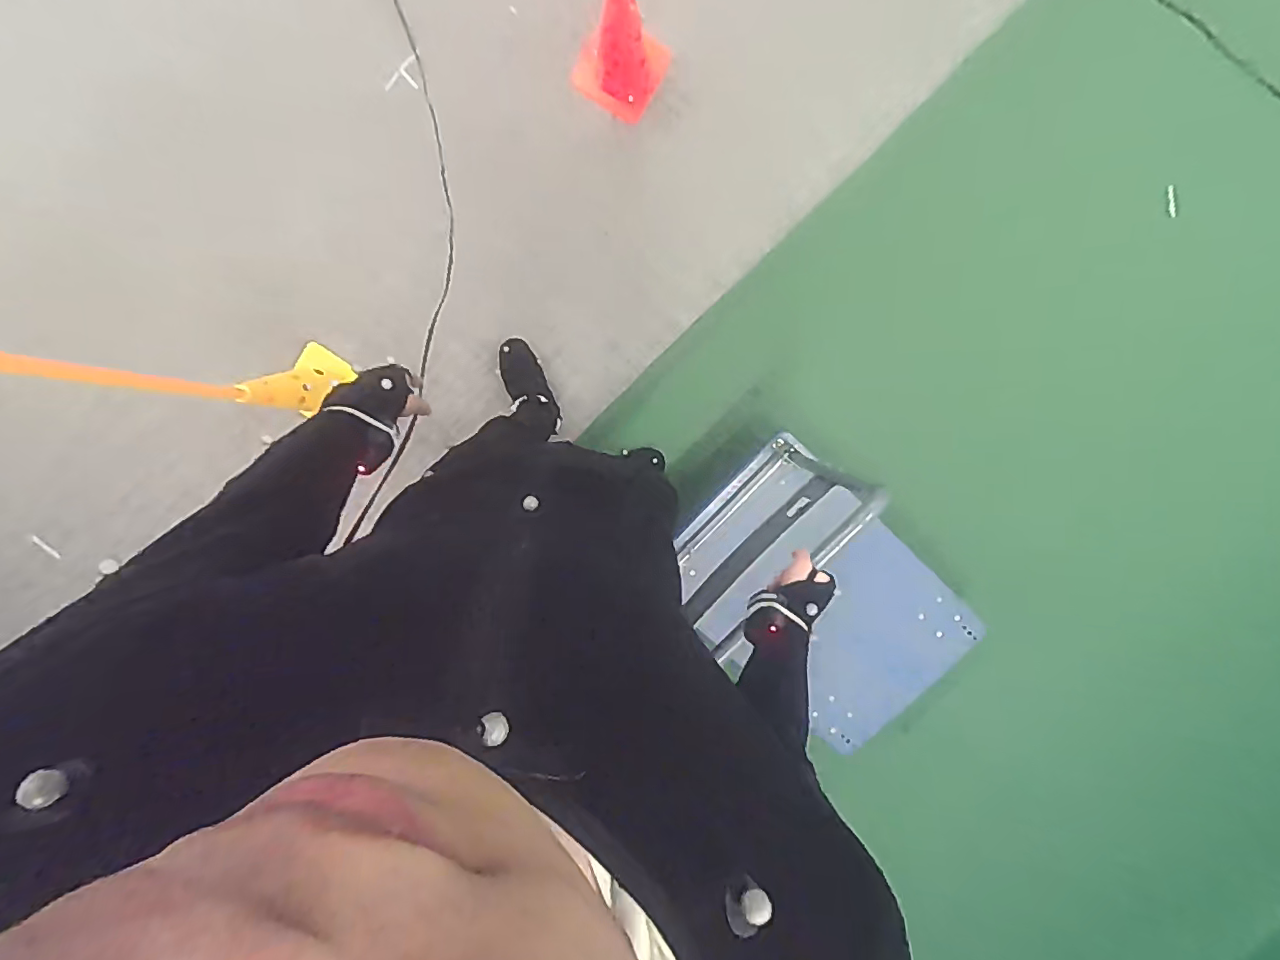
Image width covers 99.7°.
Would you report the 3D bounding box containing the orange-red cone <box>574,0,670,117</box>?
[{"bbox_3d":[-0.040,-1.042,1.225,0.198,0.360,0.199,31,98,-8],"label":"orange-red cone"}]
